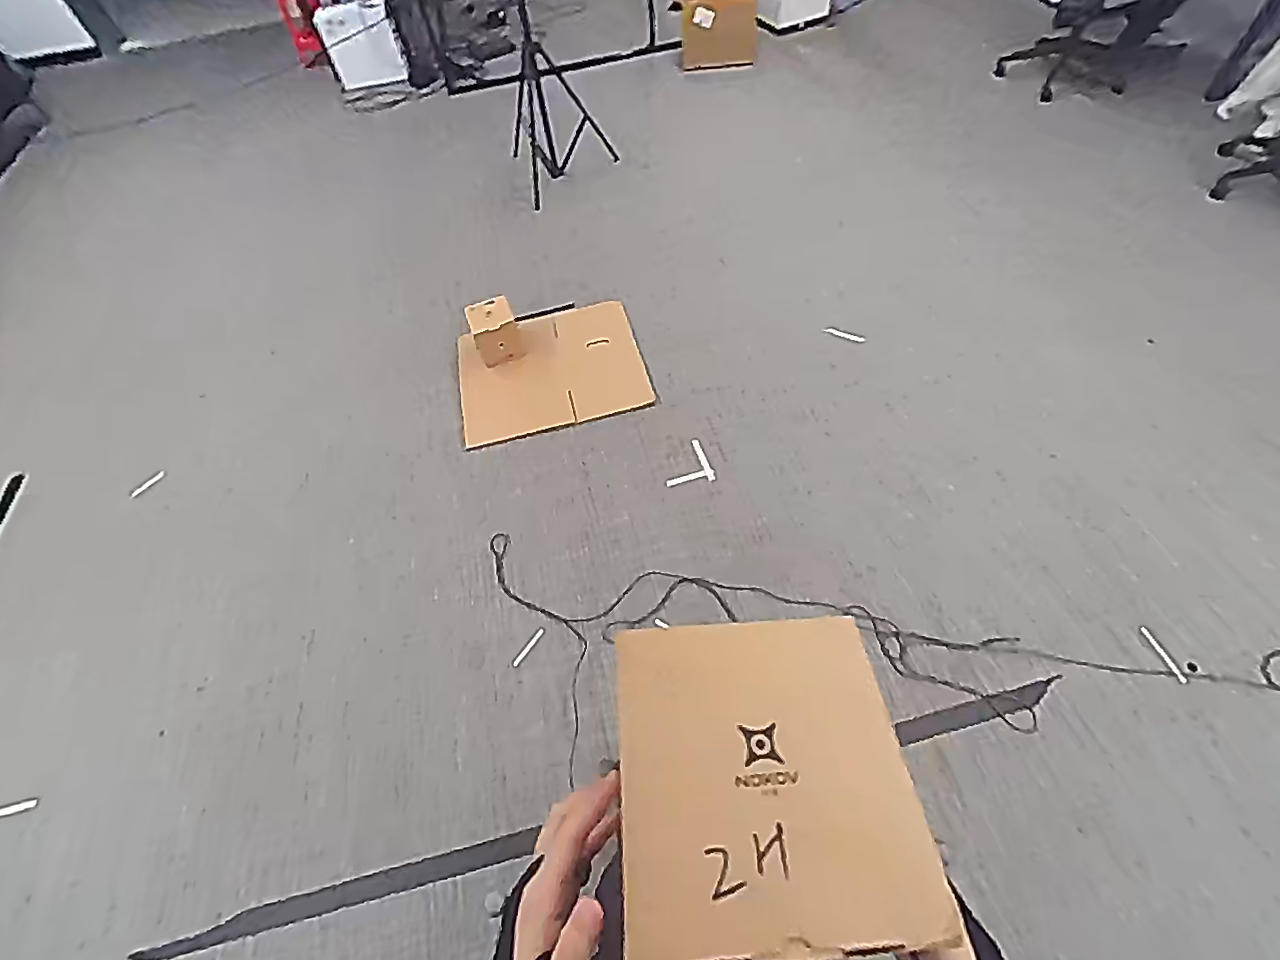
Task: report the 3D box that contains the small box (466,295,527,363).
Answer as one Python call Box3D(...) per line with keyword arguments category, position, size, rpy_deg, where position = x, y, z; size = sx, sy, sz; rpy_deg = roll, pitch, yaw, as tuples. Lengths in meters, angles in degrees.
Box3D(category="small box", position=(-0.550, -0.575, 2.093), size=(0.168, 0.176, 0.179), rpy_deg=(-21, 57, -7))

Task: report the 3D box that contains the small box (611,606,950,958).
Box3D(category="small box", position=(0.066, 0.209, 0.375), size=(0.168, 0.176, 0.179), rpy_deg=(-4, 49, -2))
